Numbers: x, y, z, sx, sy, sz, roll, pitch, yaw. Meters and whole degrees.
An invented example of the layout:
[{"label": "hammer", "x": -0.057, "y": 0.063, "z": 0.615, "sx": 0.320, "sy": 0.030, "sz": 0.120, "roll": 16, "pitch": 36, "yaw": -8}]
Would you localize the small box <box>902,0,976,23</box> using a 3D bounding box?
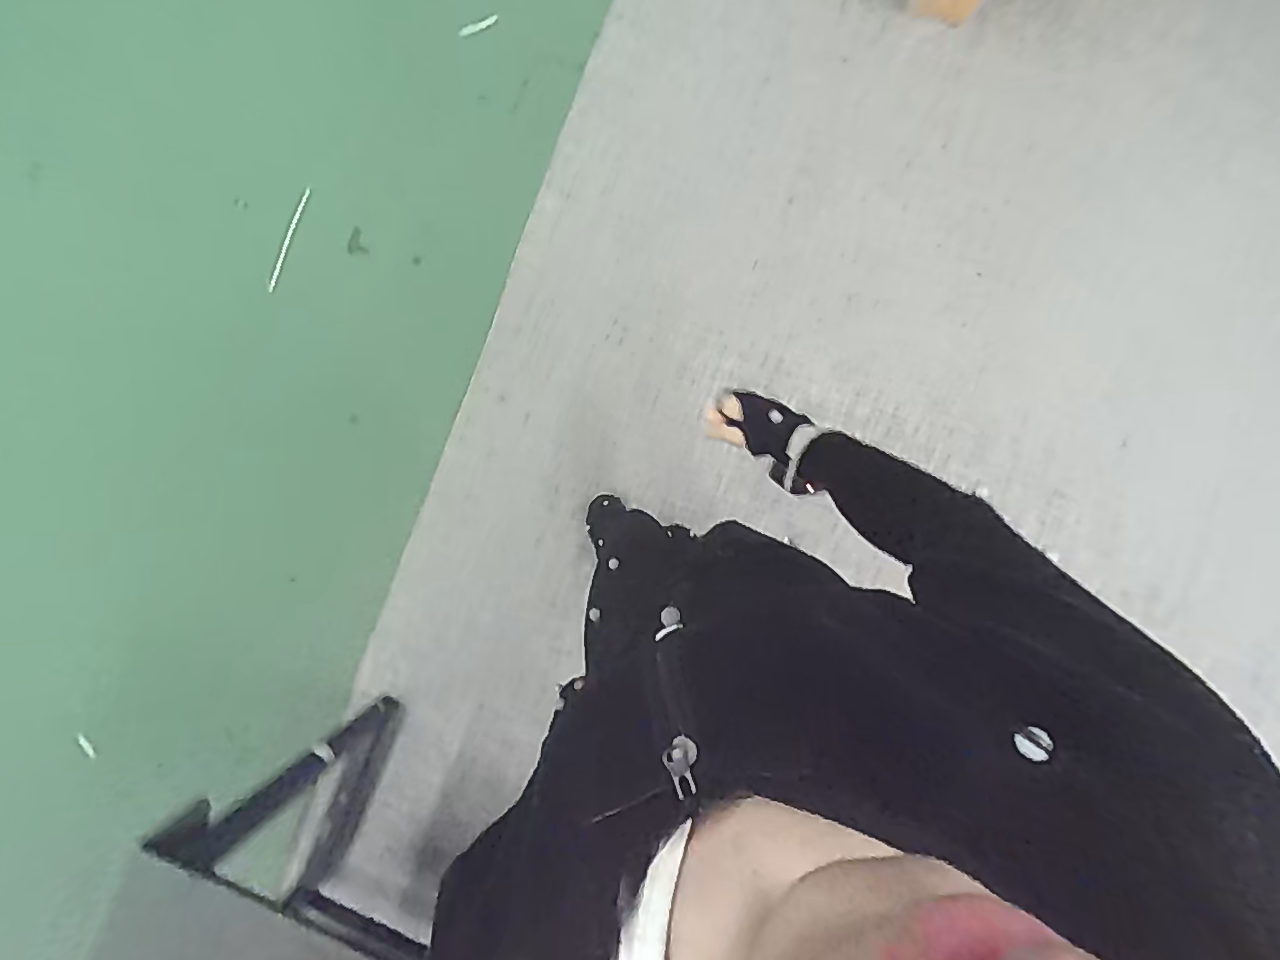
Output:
[{"label": "small box", "x": 0.823, "y": -1.353, "z": 1.411, "sx": 0.179, "sy": 0.176, "sz": 0.168, "roll": 17, "pitch": 91, "yaw": 4}]
